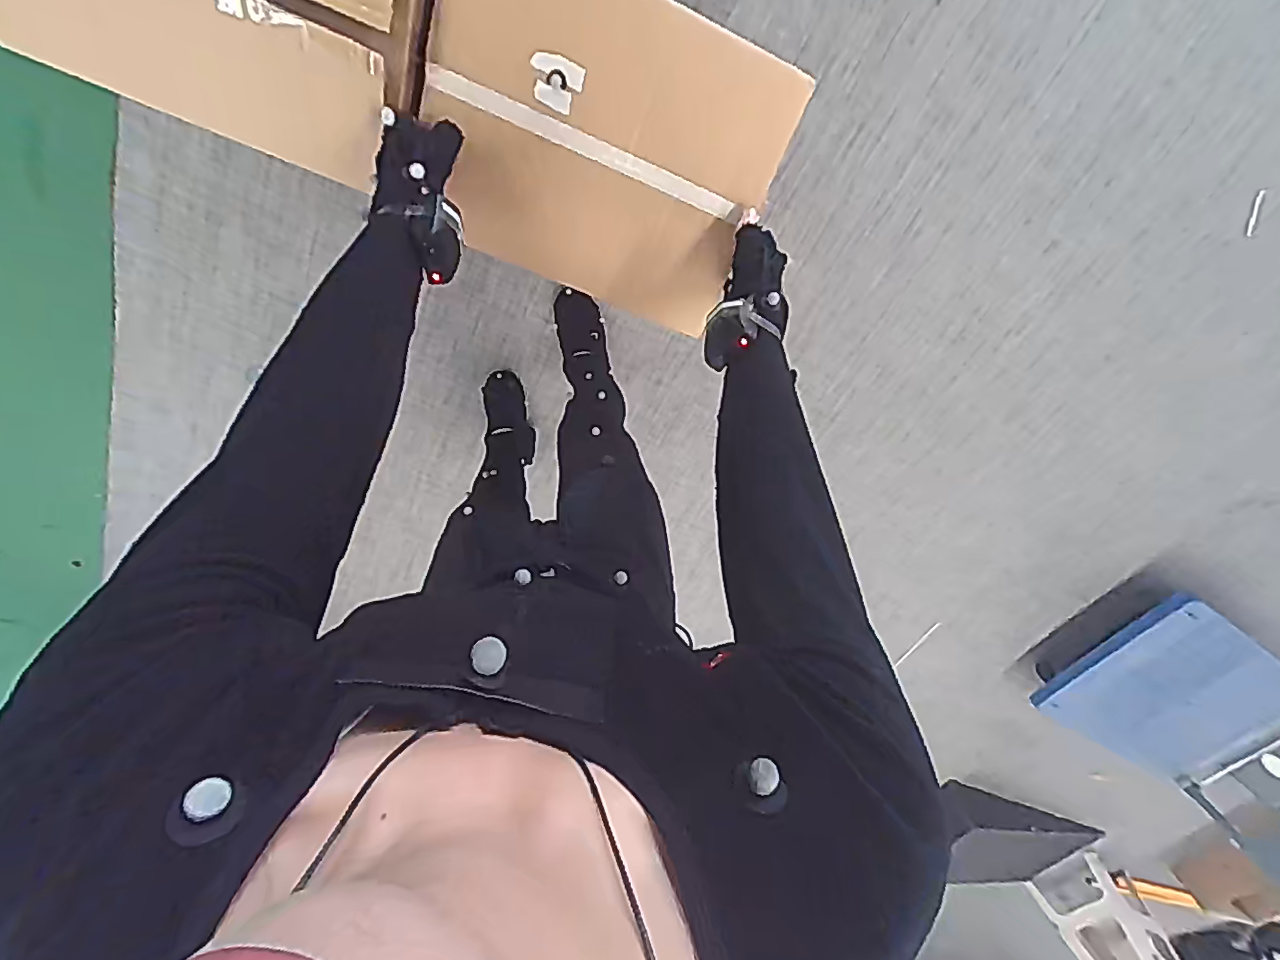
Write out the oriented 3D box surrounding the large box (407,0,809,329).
[{"bbox_3d":[-0.047,-0.461,0.756,0.408,0.320,0.320,19,118,-11],"label":"large box"}]
